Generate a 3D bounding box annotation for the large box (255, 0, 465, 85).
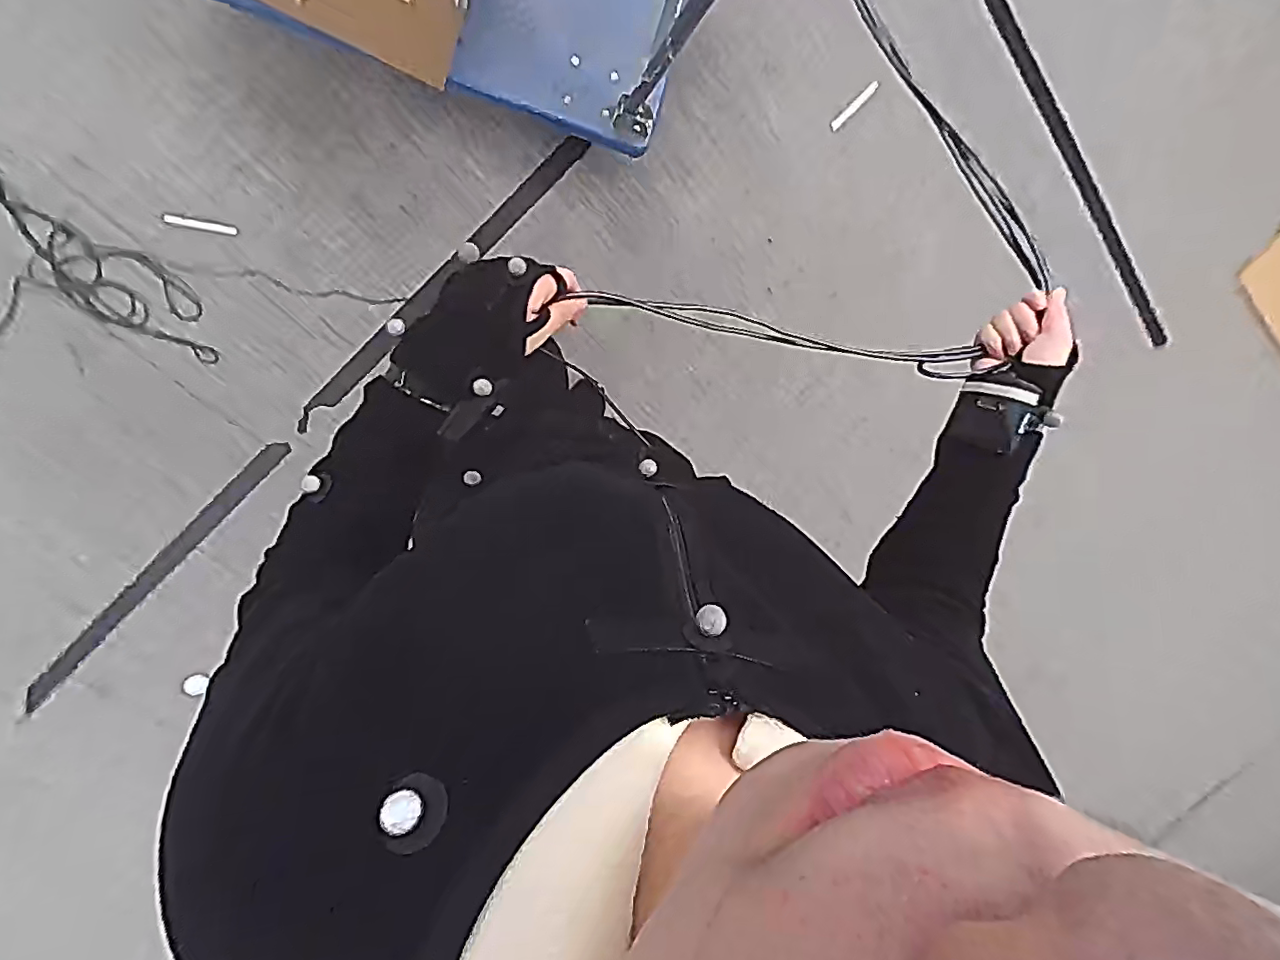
[{"bbox_3d":[-0.474,-0.893,0.804,0.408,0.320,0.320,18,102,-15],"label":"large box"}]
